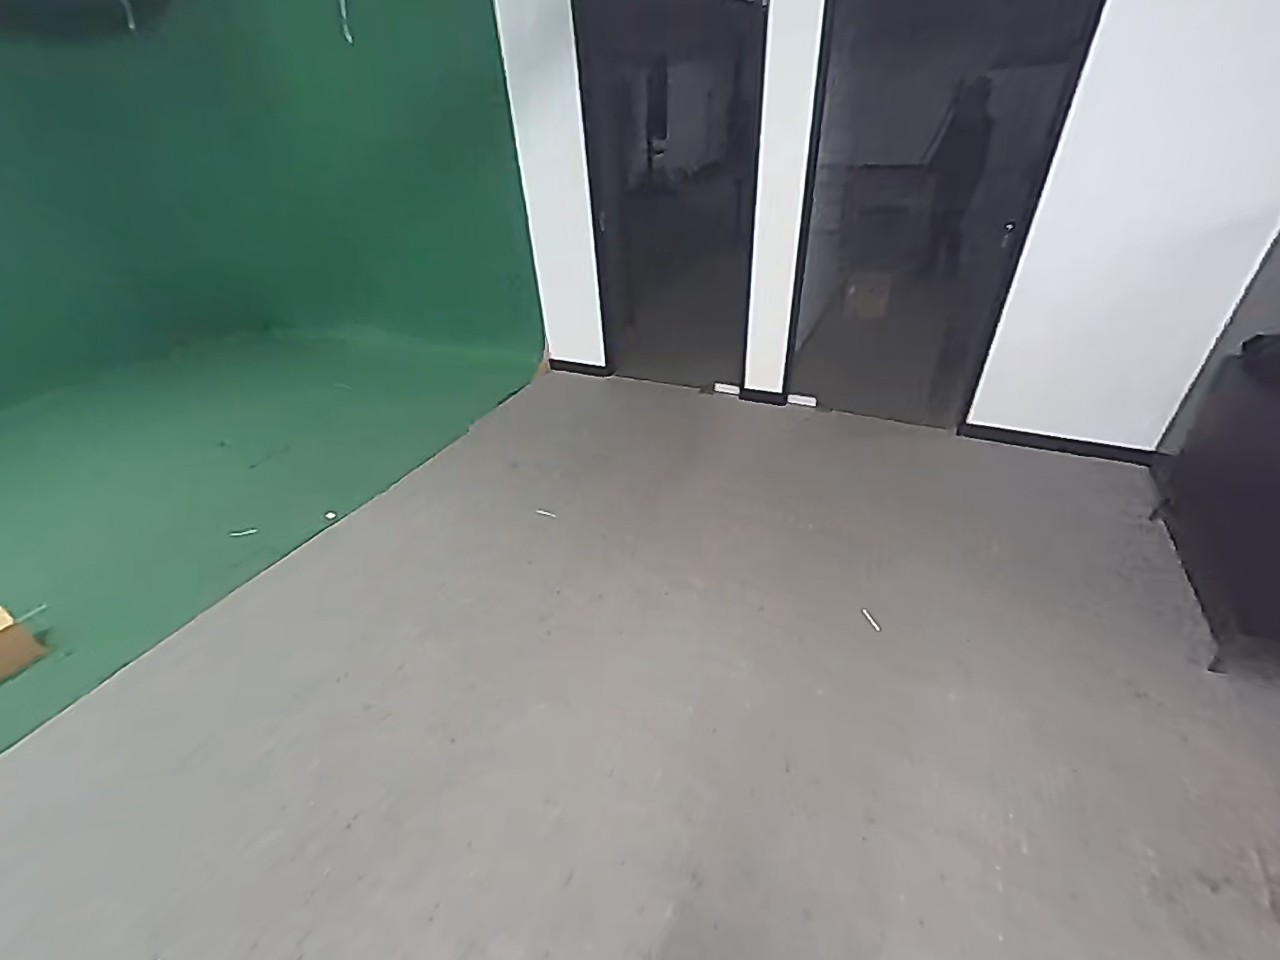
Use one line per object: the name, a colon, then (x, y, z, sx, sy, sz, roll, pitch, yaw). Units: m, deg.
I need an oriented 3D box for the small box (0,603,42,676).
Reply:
small box: (-2.261, 0.570, 1.886, 0.168, 0.176, 0.179, 17, 40, 26)
